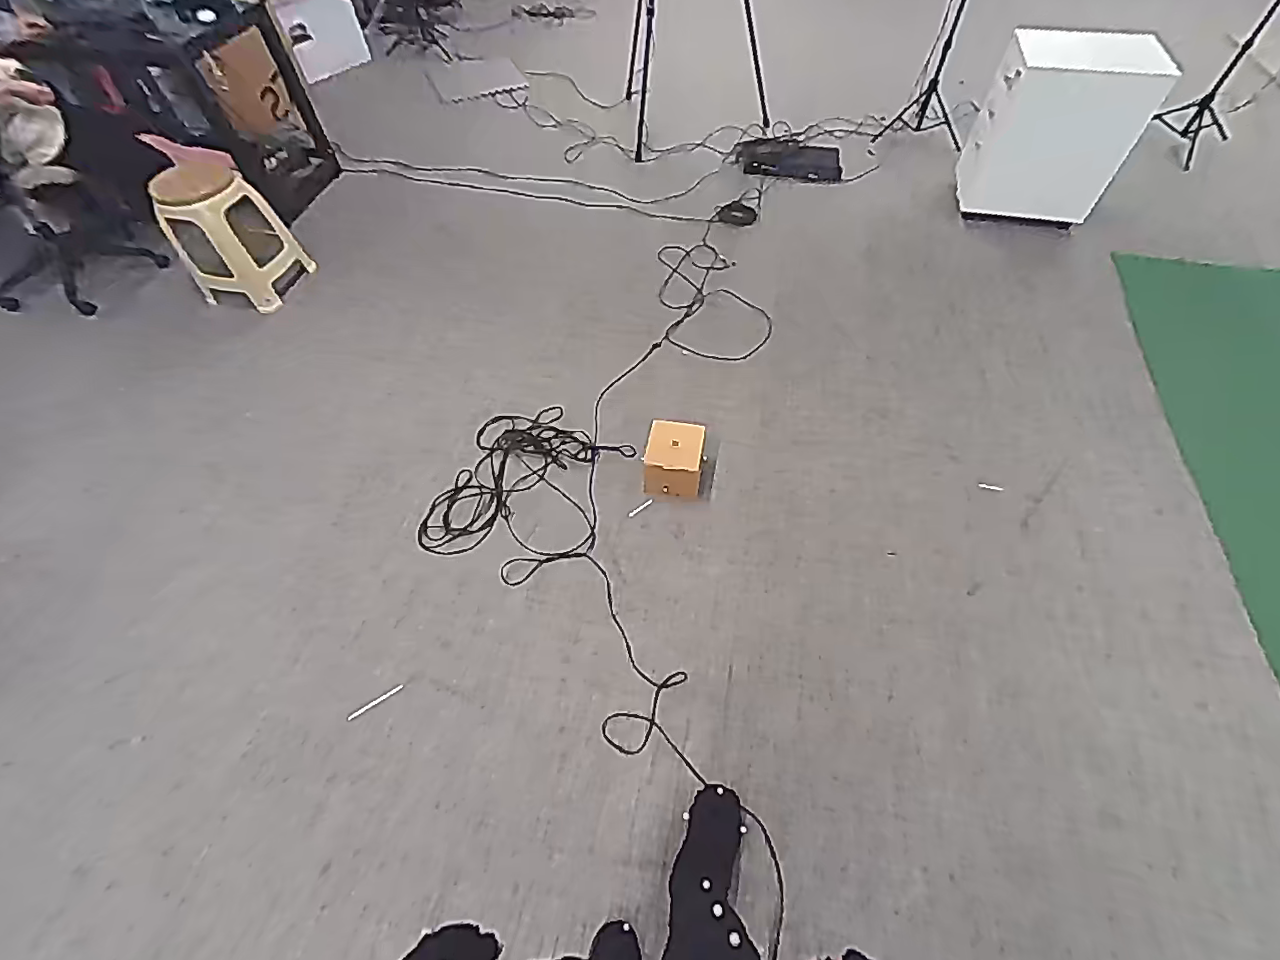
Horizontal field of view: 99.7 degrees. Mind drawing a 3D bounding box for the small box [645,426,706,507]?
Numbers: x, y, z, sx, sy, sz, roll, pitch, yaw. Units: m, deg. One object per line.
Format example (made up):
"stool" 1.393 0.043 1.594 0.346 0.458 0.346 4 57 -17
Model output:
"small box" 0.110 -0.042 1.690 0.168 0.176 0.179 8 57 8
